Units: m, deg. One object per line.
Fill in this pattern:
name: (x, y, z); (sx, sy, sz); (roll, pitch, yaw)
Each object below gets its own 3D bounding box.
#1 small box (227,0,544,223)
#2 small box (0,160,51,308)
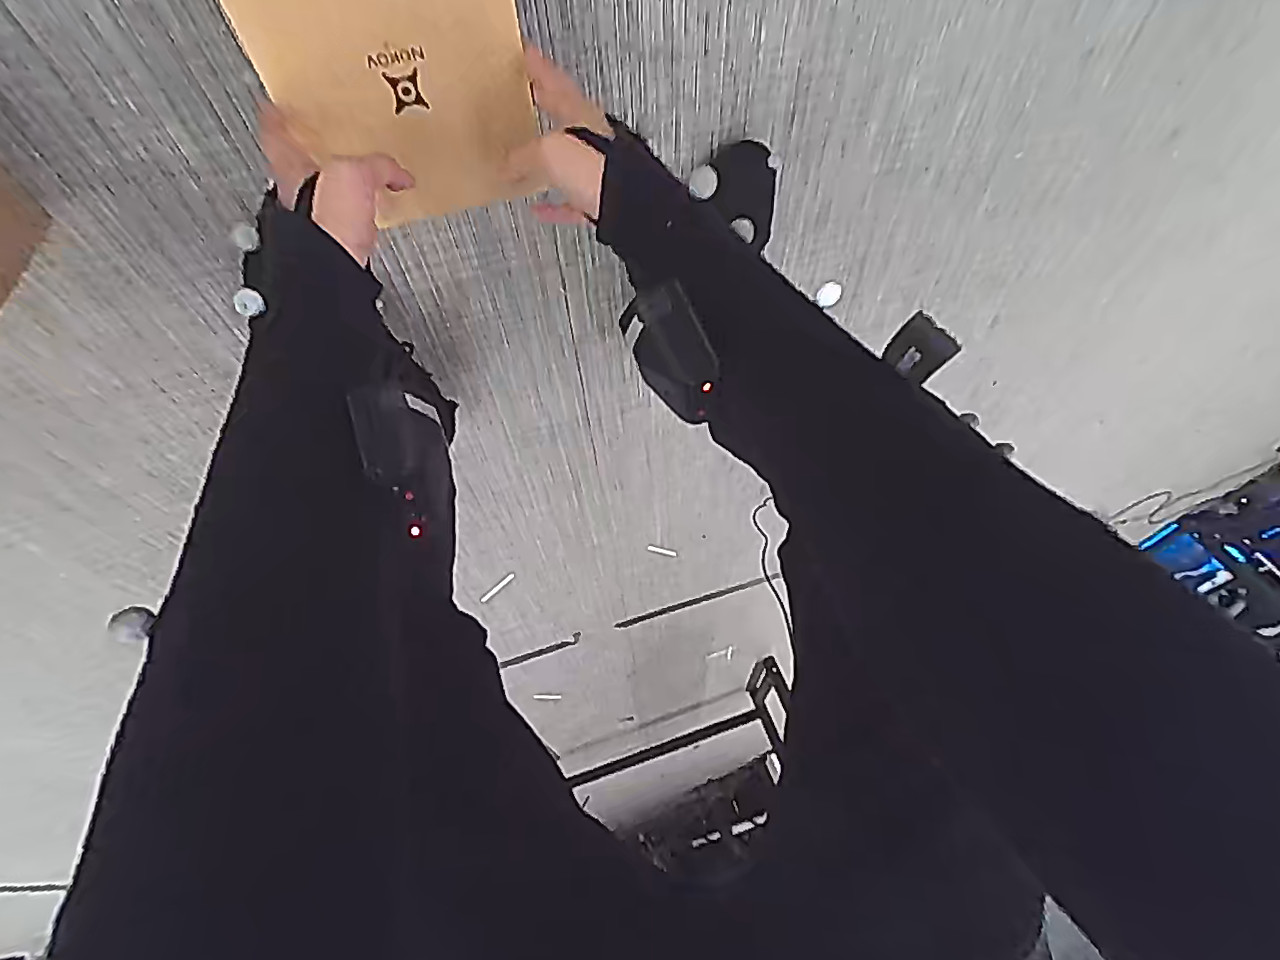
small box: (-0.182, -0.331, 0.405); (0.168, 0.176, 0.179); (-17, 144, -8)
small box: (-0.580, -0.202, 0.361); (0.168, 0.176, 0.179); (-15, 144, -8)
